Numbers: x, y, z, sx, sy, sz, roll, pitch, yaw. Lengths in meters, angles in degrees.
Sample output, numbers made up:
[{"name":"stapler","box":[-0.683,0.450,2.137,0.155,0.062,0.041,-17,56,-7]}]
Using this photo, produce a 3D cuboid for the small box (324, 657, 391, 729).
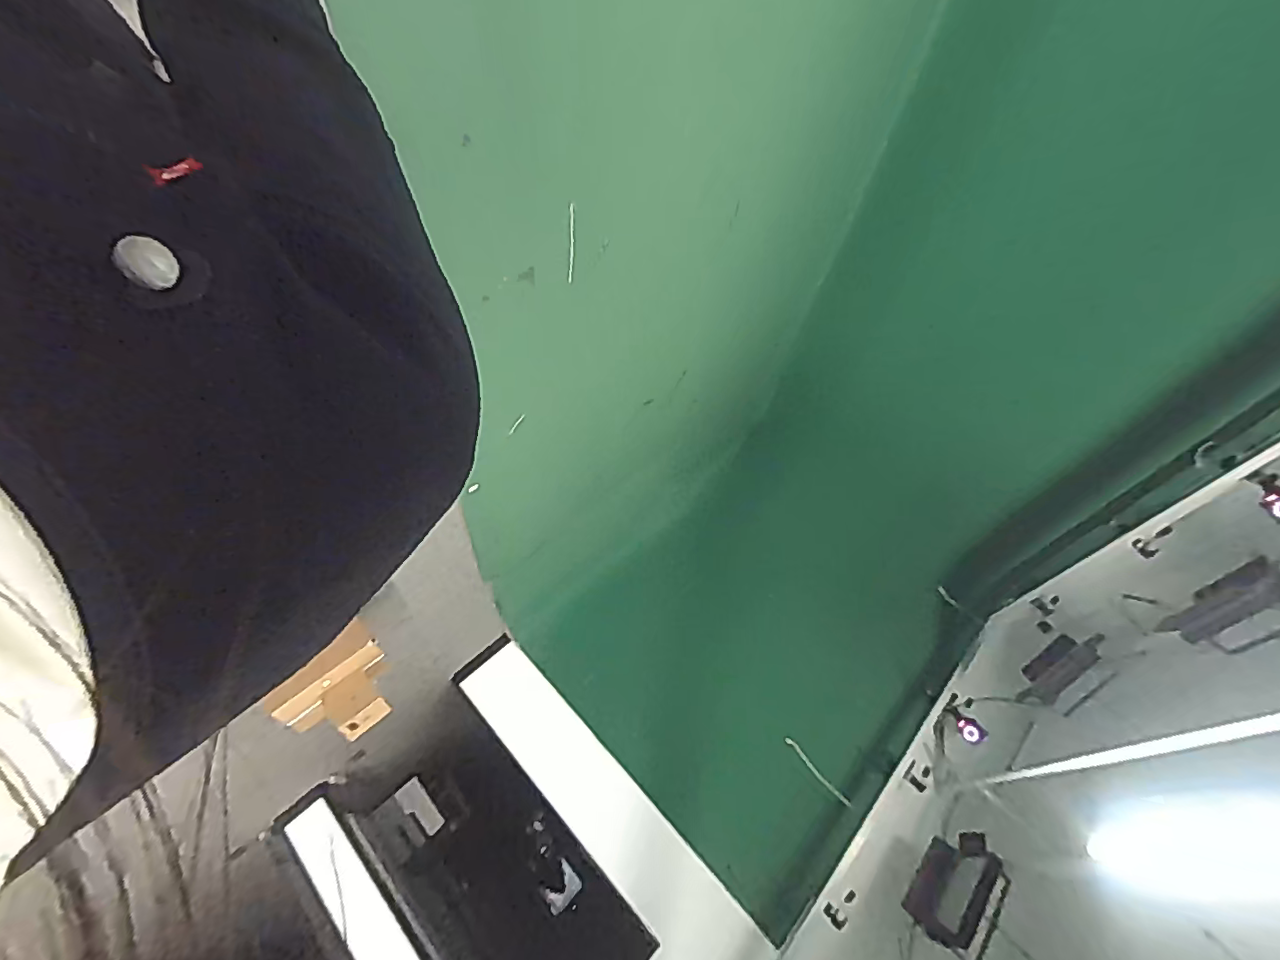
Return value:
[{"name":"small box","box":[-1.147,0.858,2.184,0.179,0.176,0.168,-34,152,-34]}]
